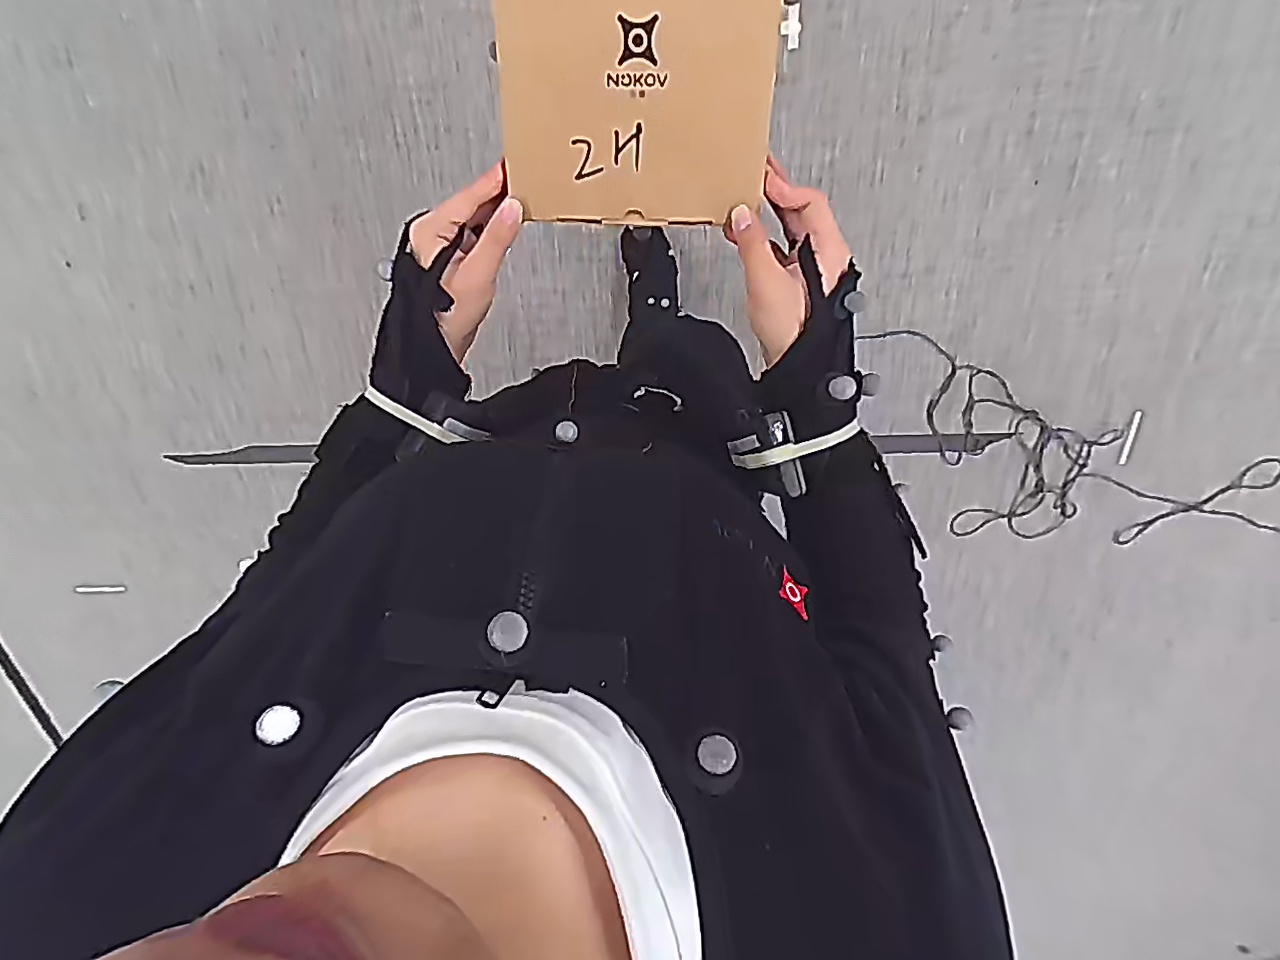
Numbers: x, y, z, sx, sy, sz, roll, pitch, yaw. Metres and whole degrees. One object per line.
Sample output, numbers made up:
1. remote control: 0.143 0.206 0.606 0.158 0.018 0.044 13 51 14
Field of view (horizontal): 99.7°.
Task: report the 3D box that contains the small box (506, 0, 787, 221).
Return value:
1. small box: 0.007 -0.288 0.393 0.168 0.176 0.179 2 117 3
